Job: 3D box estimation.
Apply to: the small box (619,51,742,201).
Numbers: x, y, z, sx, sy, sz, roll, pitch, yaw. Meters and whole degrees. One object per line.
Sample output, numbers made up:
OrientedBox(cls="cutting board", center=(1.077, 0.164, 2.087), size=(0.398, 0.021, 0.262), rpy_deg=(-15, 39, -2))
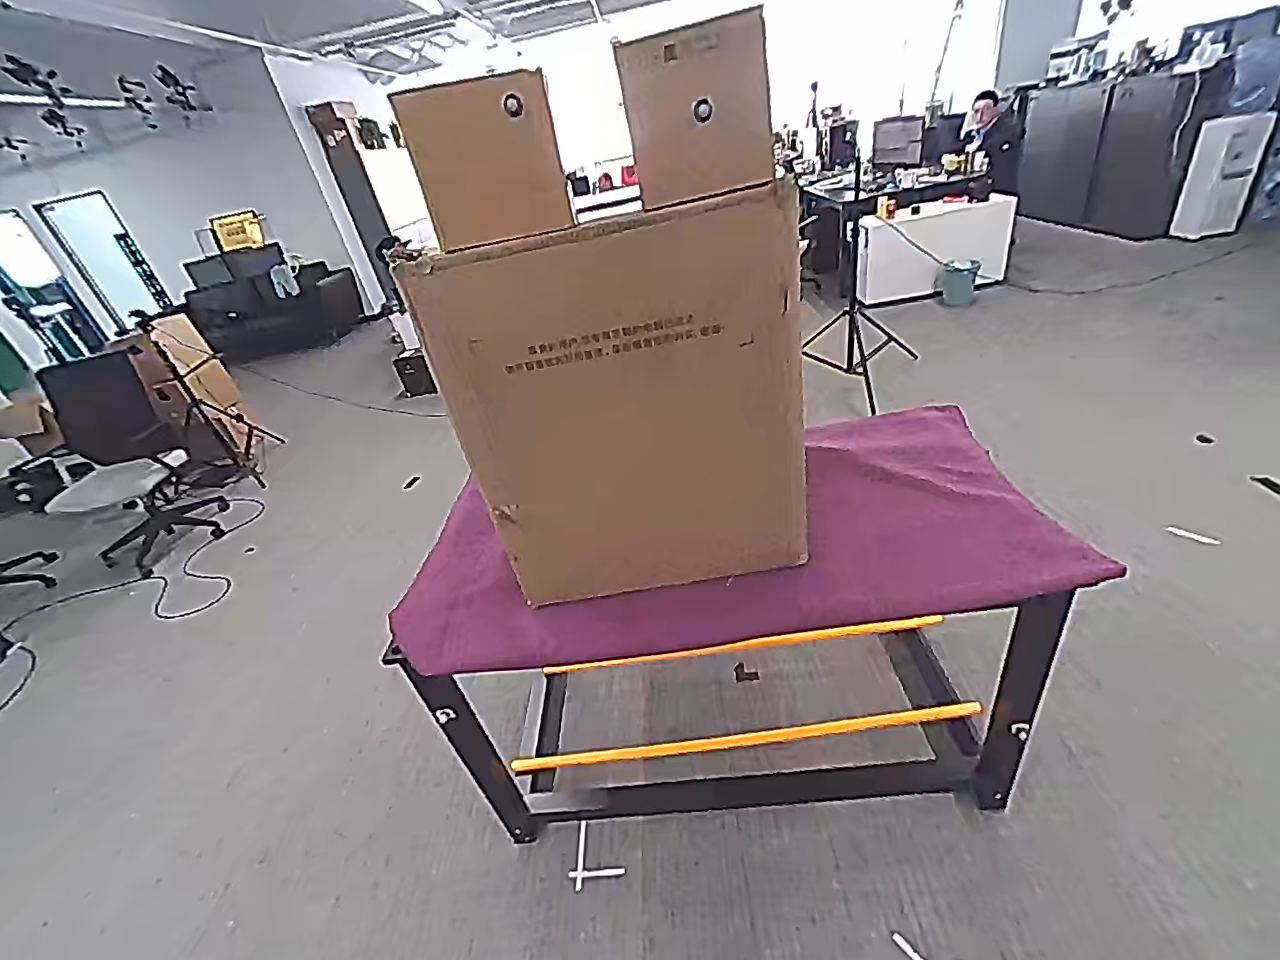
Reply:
OrientedBox(cls="small box", center=(0.067, -0.560, 0.872), size=(0.168, 0.176, 0.179), rpy_deg=(-9, 32, 7))
